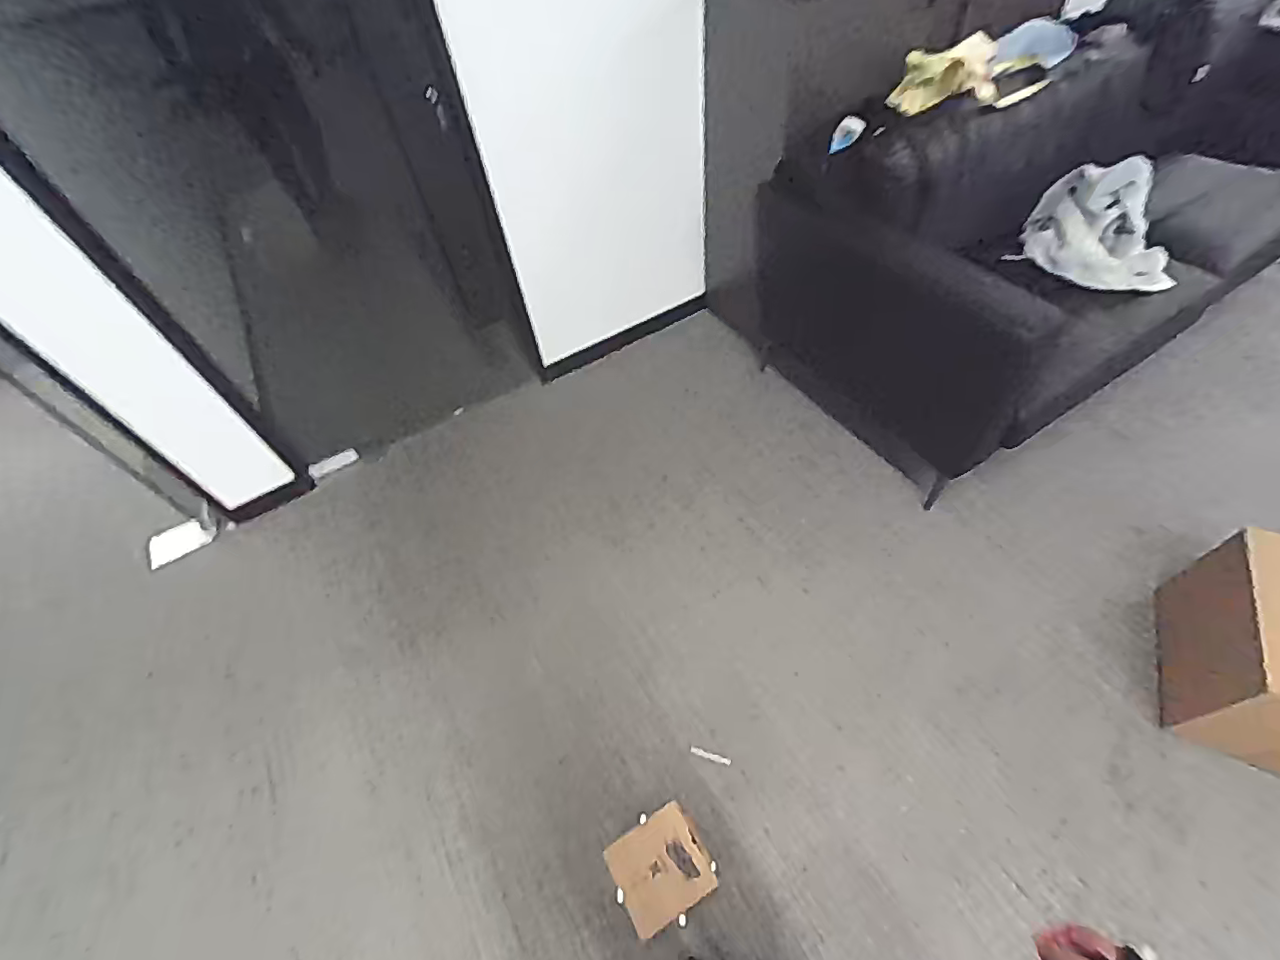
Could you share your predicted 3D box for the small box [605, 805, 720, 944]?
[{"bbox_3d":[0.047,0.816,1.127,0.179,0.176,0.168,-28,54,-14],"label":"small box"}]
